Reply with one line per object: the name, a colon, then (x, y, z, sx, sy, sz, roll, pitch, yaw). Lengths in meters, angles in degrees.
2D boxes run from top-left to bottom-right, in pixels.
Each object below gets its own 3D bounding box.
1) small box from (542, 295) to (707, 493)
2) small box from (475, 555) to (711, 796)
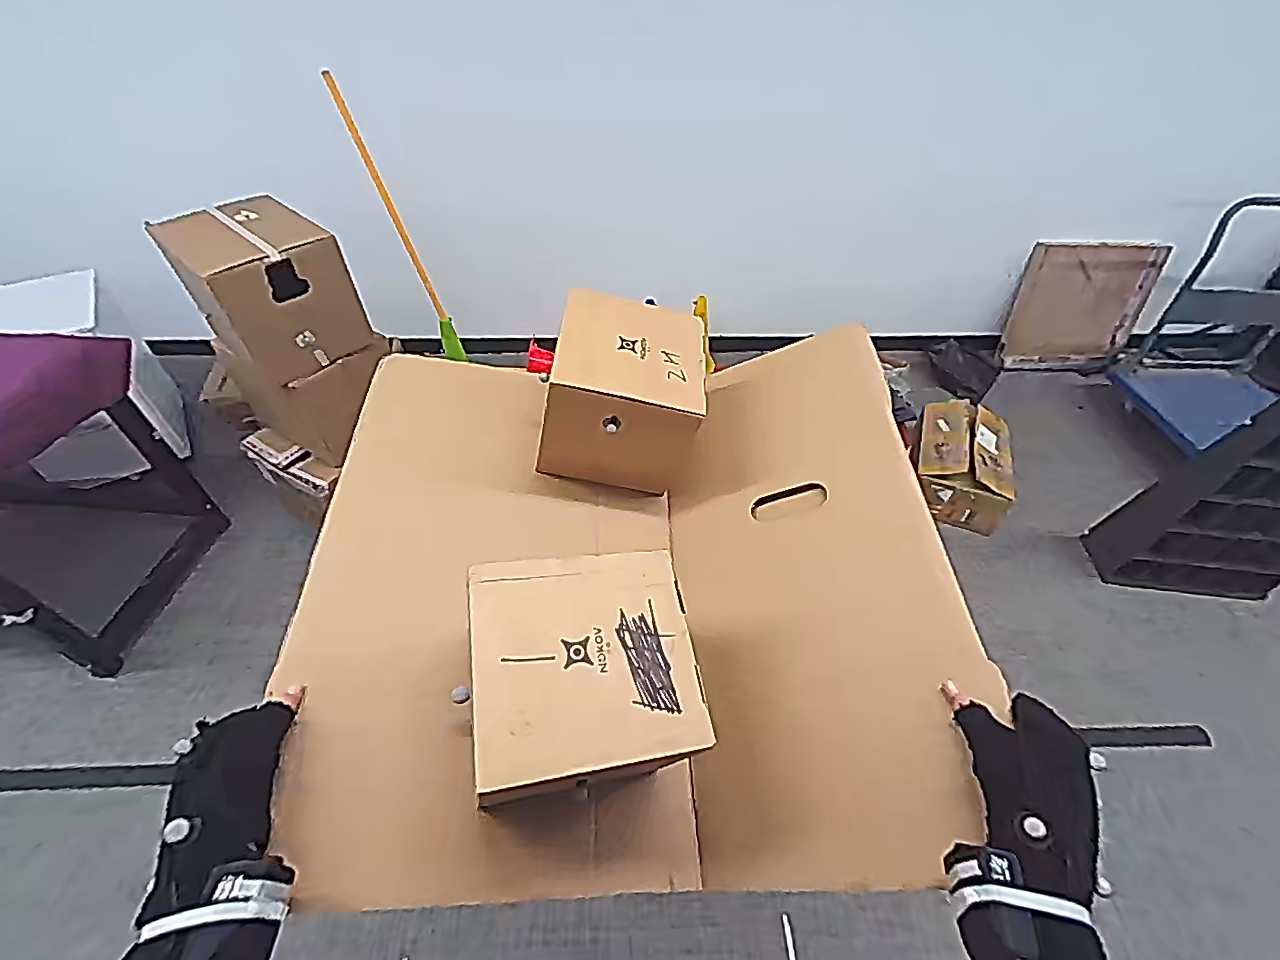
small box: (-0.024, -0.102, 0.699, 0.179, 0.176, 0.168, 12, 55, -10)
small box: (-0.059, 0.181, 0.498, 0.179, 0.176, 0.168, -2, 58, -17)
